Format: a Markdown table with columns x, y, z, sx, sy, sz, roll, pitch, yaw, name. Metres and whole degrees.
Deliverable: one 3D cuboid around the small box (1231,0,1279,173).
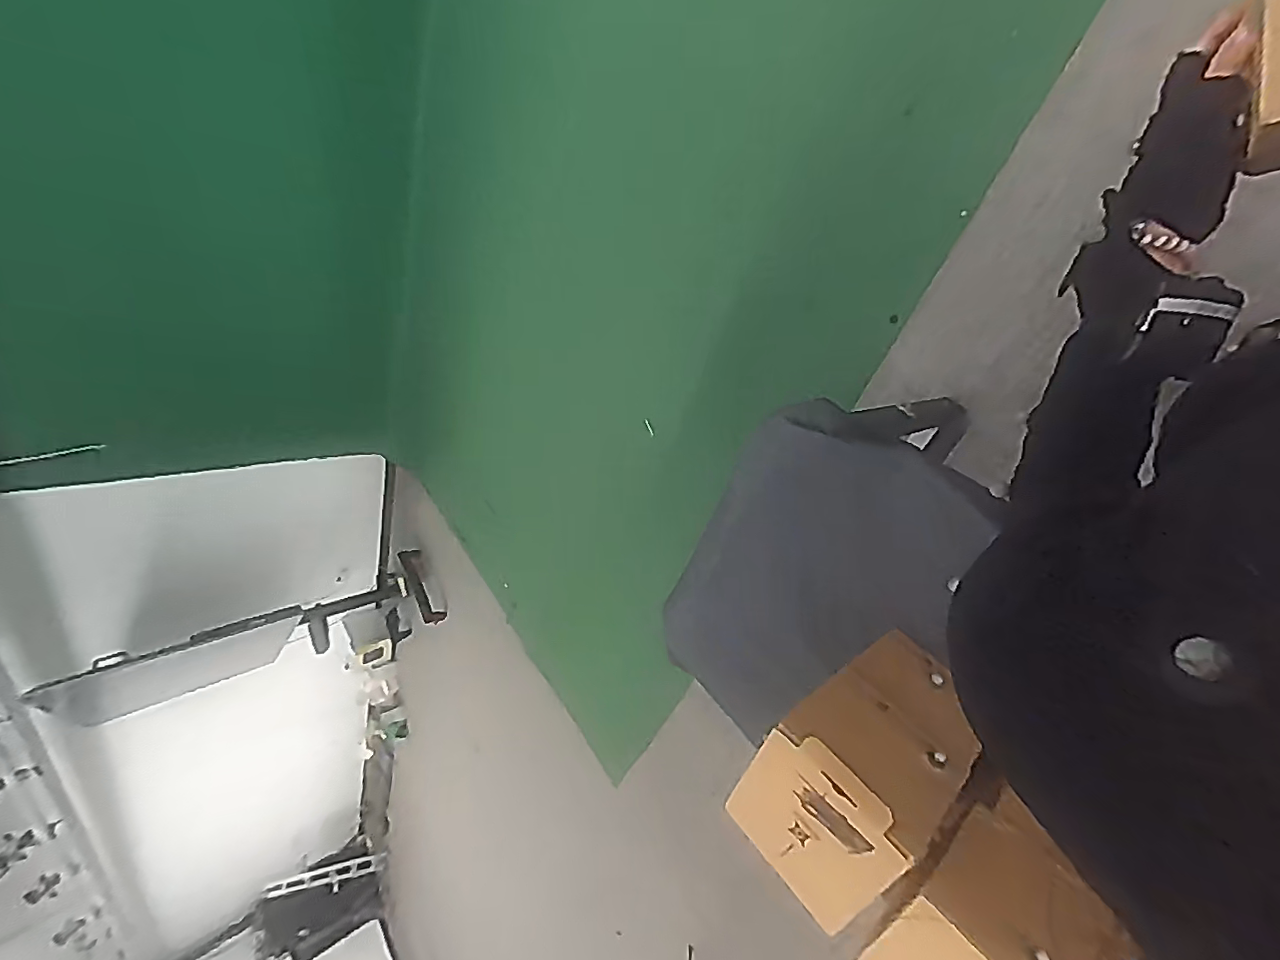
| x | y | z | sx | sy | sz | roll | pitch | yaw | name |
| --- | --- | --- | --- | --- | --- | --- | --- | --- | --- |
| 0.459 | -0.295 | 0.292 | 0.179 | 0.176 | 0.168 | 3 | 102 | 45 | small box |
